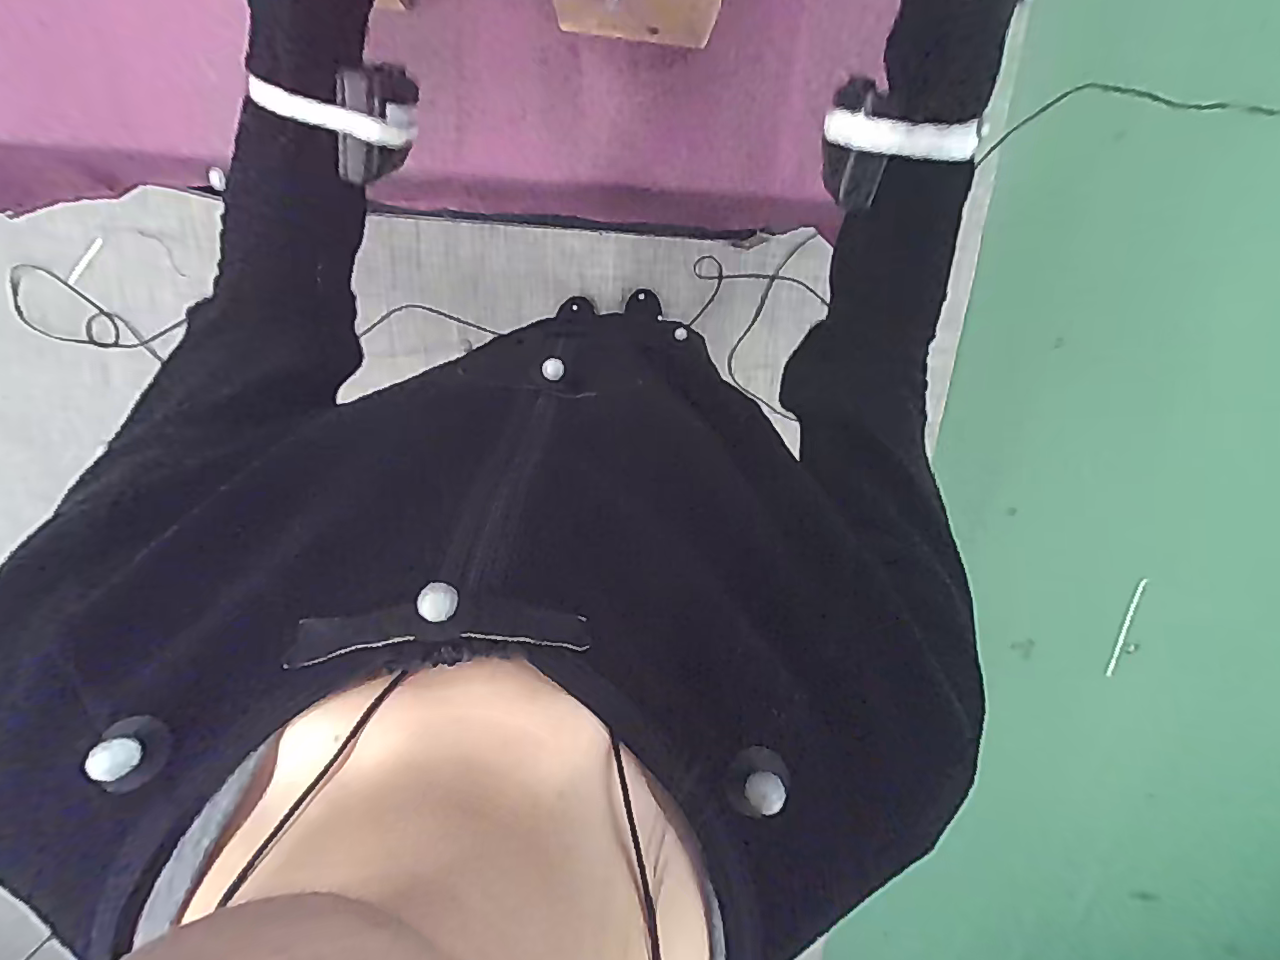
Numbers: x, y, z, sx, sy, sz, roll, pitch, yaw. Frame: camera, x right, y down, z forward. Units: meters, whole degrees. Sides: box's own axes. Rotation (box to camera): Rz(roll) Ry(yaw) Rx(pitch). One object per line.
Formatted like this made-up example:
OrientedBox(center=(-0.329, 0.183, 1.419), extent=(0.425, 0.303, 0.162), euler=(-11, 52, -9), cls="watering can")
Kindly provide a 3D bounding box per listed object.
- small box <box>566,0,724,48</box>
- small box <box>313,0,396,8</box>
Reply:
OrientedBox(center=(0.011, -0.554, 0.514), extent=(0.168, 0.176, 0.179), euler=(4, 106, -4), cls="small box")
OrientedBox(center=(-0.323, -0.574, 0.491), extent=(0.179, 0.176, 0.168), euler=(3, 106, -3), cls="small box")
